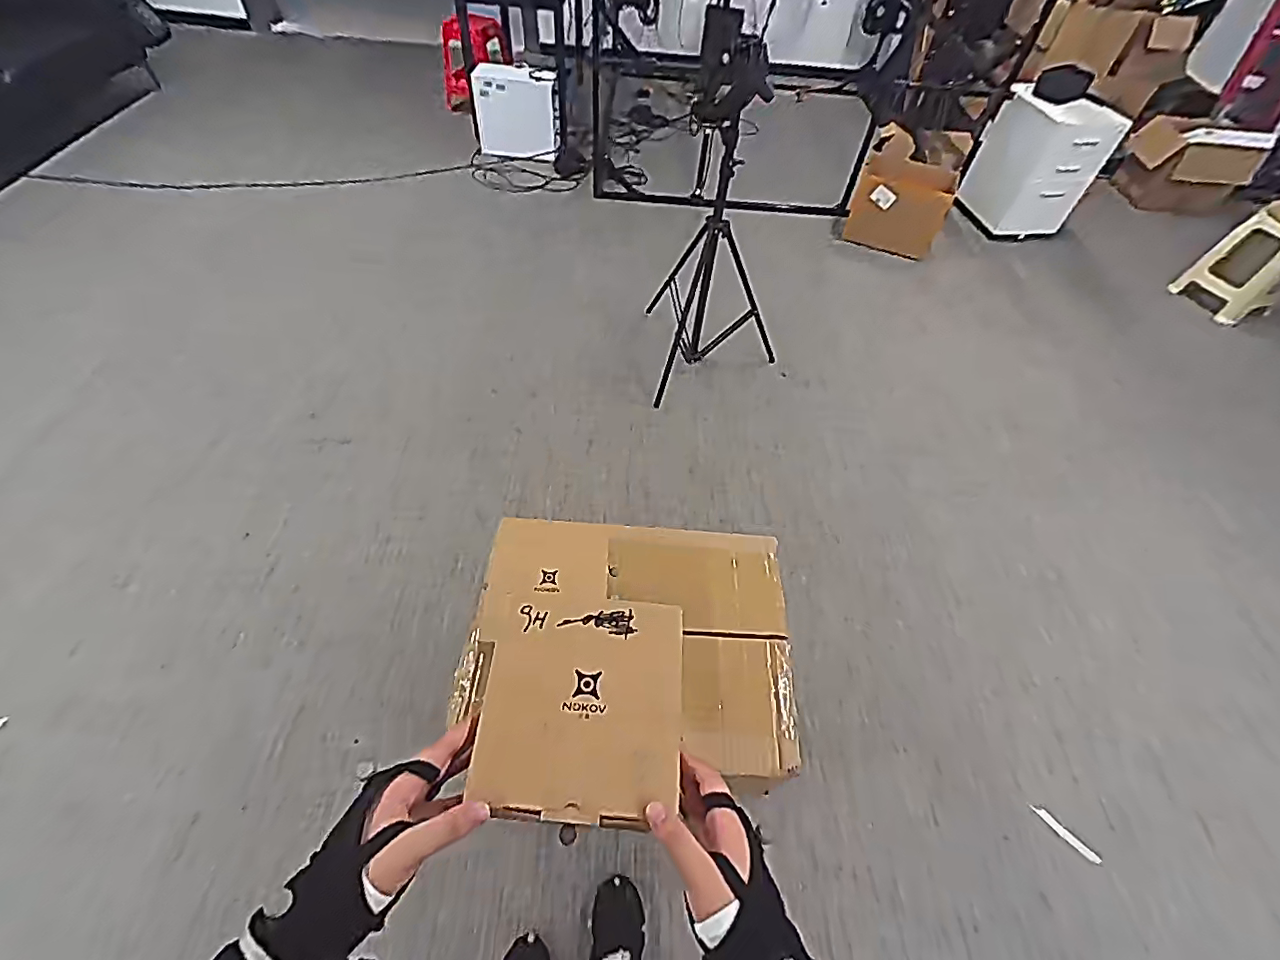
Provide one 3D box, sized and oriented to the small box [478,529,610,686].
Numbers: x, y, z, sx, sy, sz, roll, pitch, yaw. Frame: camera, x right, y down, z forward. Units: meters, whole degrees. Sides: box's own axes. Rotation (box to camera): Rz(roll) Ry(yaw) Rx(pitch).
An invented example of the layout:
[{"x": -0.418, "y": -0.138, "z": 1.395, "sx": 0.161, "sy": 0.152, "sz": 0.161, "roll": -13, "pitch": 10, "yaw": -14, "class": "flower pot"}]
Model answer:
[{"x": -0.135, "y": 0.194, "z": 0.815, "sx": 0.168, "sy": 0.176, "sz": 0.179, "roll": 3, "pitch": 54, "yaw": -3, "class": "small box"}]
